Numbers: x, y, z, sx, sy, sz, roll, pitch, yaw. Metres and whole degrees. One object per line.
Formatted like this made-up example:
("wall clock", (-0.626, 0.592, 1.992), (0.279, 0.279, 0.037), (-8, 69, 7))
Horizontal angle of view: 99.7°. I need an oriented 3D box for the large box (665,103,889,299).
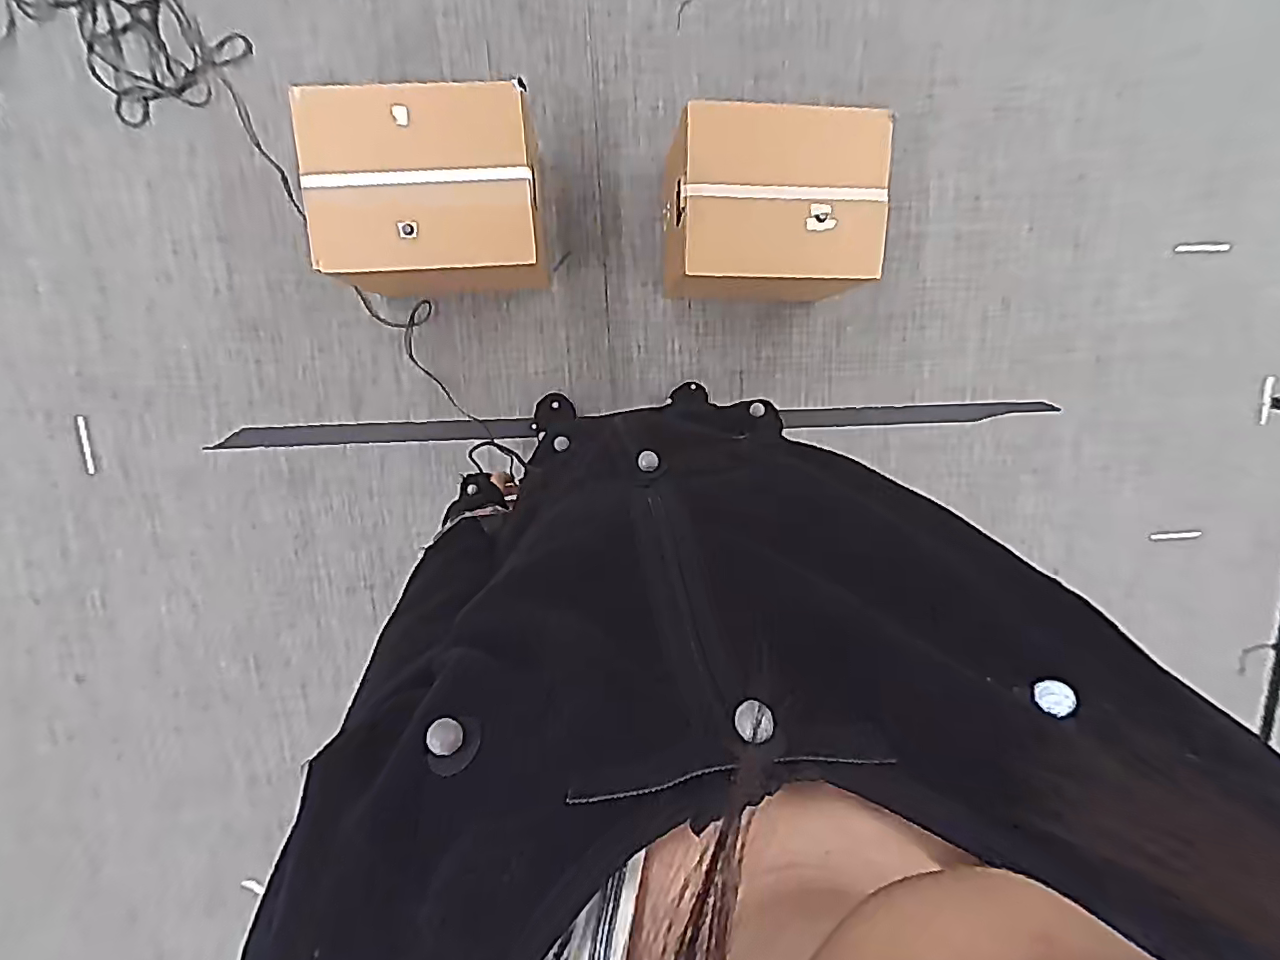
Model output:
("large box", (0.274, -0.586, 1.203), (0.408, 0.320, 0.320), (-1, 101, -6))
